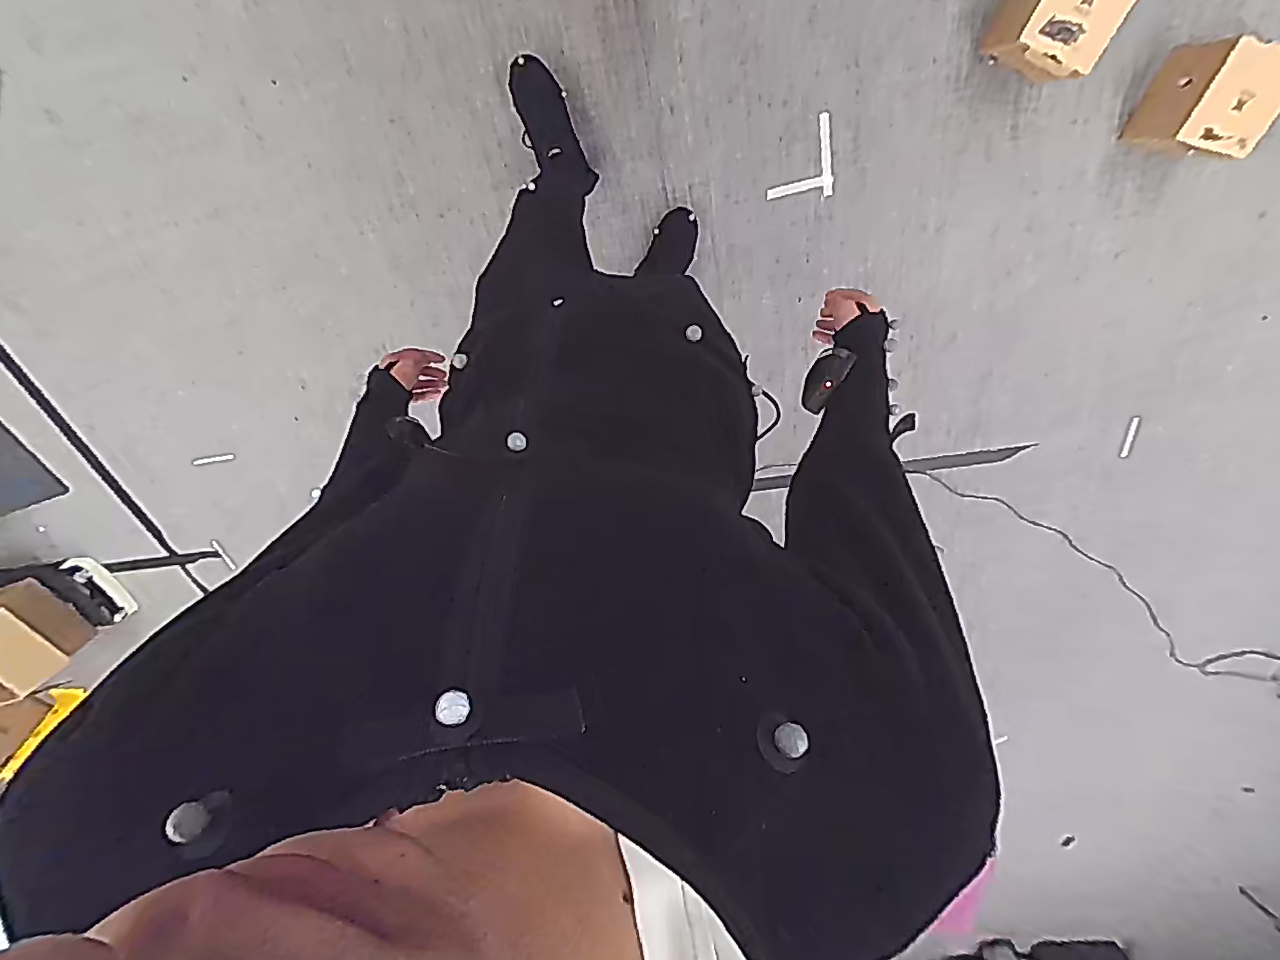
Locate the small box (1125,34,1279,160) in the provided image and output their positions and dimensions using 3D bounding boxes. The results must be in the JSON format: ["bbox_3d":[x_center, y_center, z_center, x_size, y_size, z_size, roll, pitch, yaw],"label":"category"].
[{"bbox_3d":[1.196,-0.793,1.136,0.168,0.176,0.179,13,121,-5],"label":"small box"}]

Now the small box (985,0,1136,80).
[{"bbox_3d":[0.829,-0.926,1.069,0.168,0.176,0.179,18,121,-9],"label":"small box"}]

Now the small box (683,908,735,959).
[{"bbox_3d":[0.231,1.583,1.822,0.168,0.176,0.179,-3,121,4],"label":"small box"}]
